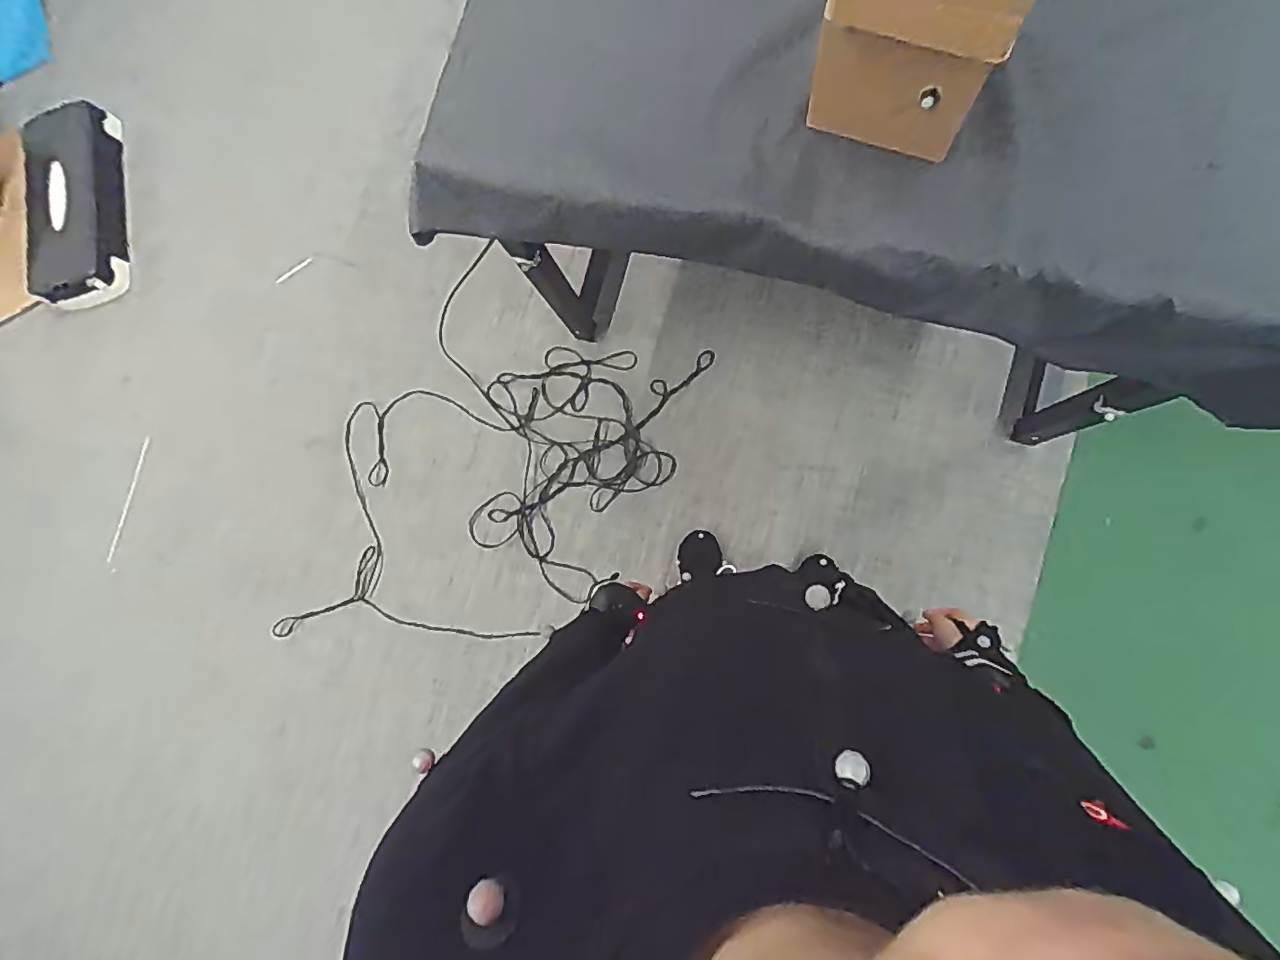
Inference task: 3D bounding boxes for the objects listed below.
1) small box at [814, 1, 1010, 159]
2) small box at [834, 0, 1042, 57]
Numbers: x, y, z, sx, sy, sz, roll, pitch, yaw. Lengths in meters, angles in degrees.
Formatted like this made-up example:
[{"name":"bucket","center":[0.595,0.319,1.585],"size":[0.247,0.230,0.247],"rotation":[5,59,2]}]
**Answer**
[{"name":"small box","center":[0.315,-0.499,0.601],"size":[0.179,0.176,0.168],"rotation":[24,87,13]},{"name":"small box","center":[0.282,-0.499,0.441],"size":[0.179,0.176,0.168],"rotation":[25,87,11]}]
